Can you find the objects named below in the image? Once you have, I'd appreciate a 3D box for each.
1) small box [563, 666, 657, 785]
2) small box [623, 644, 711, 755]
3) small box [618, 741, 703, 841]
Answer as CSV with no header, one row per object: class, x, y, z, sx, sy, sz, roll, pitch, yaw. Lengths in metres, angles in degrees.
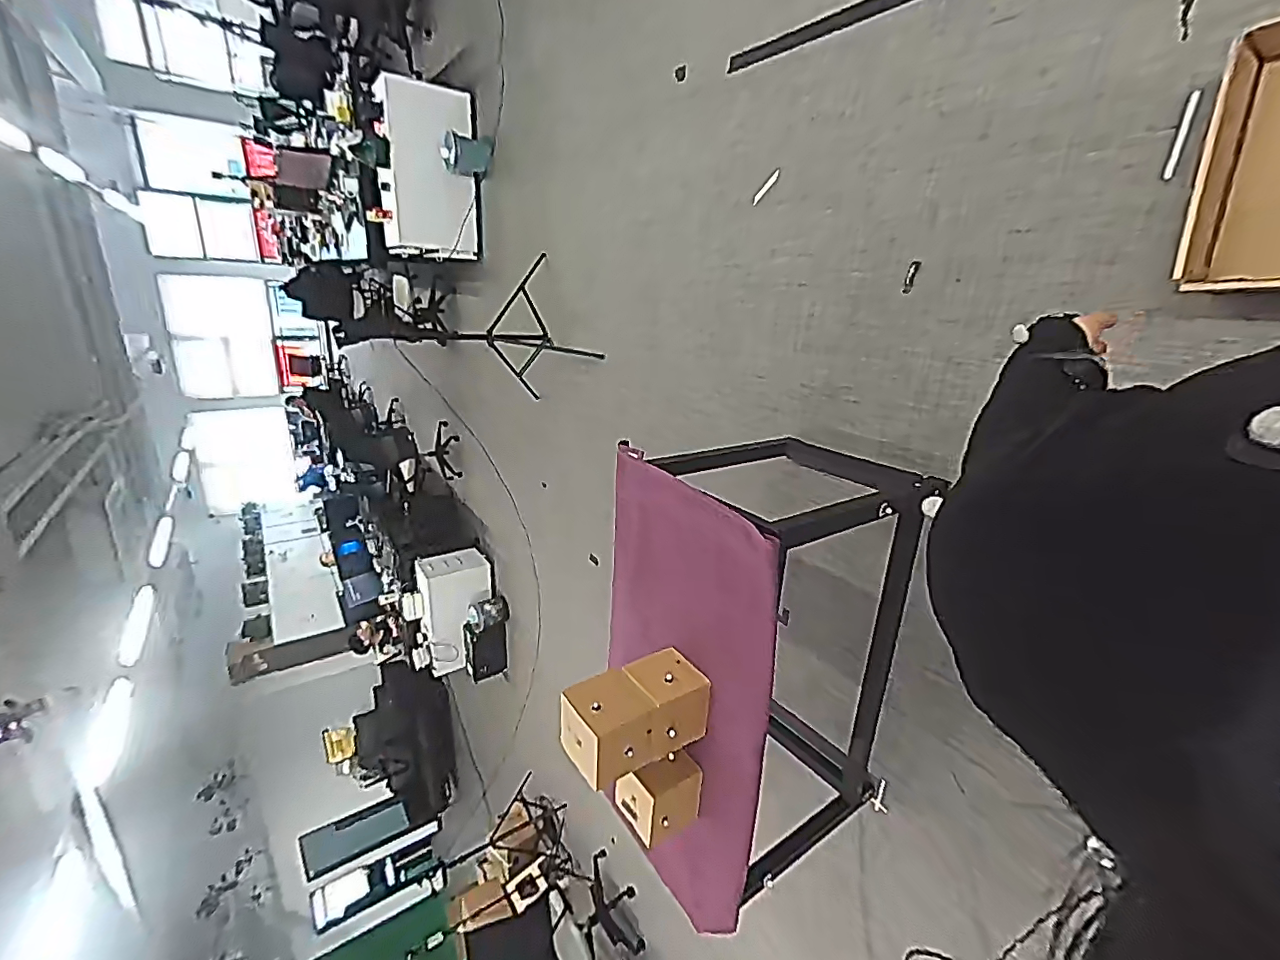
small box,-0.074,0.583,1.312,0.179,0.176,0.168,29,122,50
small box,0.067,0.554,1.394,0.168,0.176,0.179,29,122,50
small box,0.054,0.826,1.482,0.168,0.176,0.179,28,120,50
